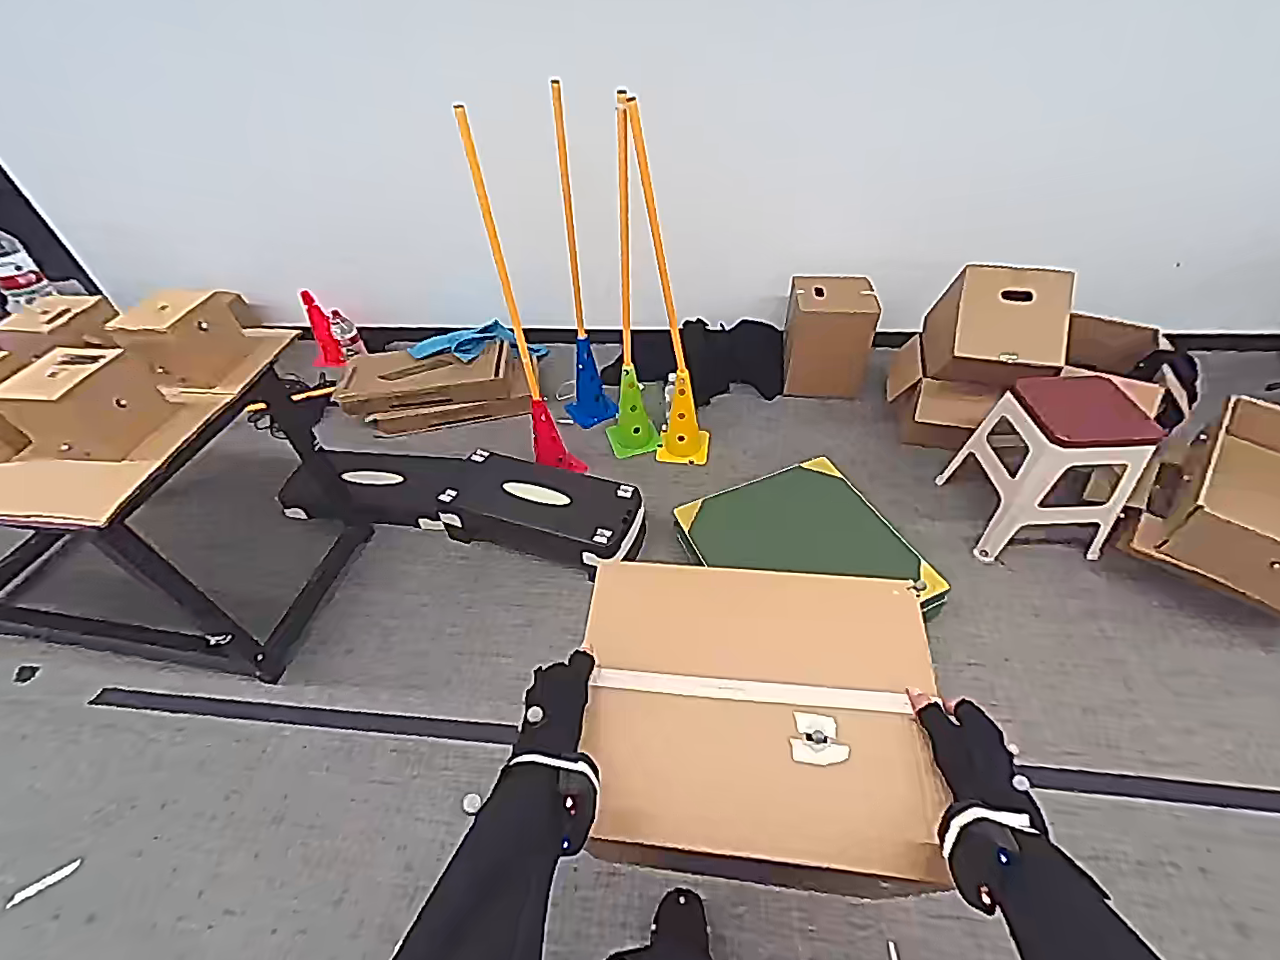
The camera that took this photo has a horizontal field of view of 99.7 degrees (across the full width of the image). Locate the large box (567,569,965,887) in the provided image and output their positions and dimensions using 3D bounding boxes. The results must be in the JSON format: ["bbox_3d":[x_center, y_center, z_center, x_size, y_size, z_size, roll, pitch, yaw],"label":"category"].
[{"bbox_3d":[0.140,0.342,0.746,0.408,0.320,0.320,3,52,7],"label":"large box"}]
